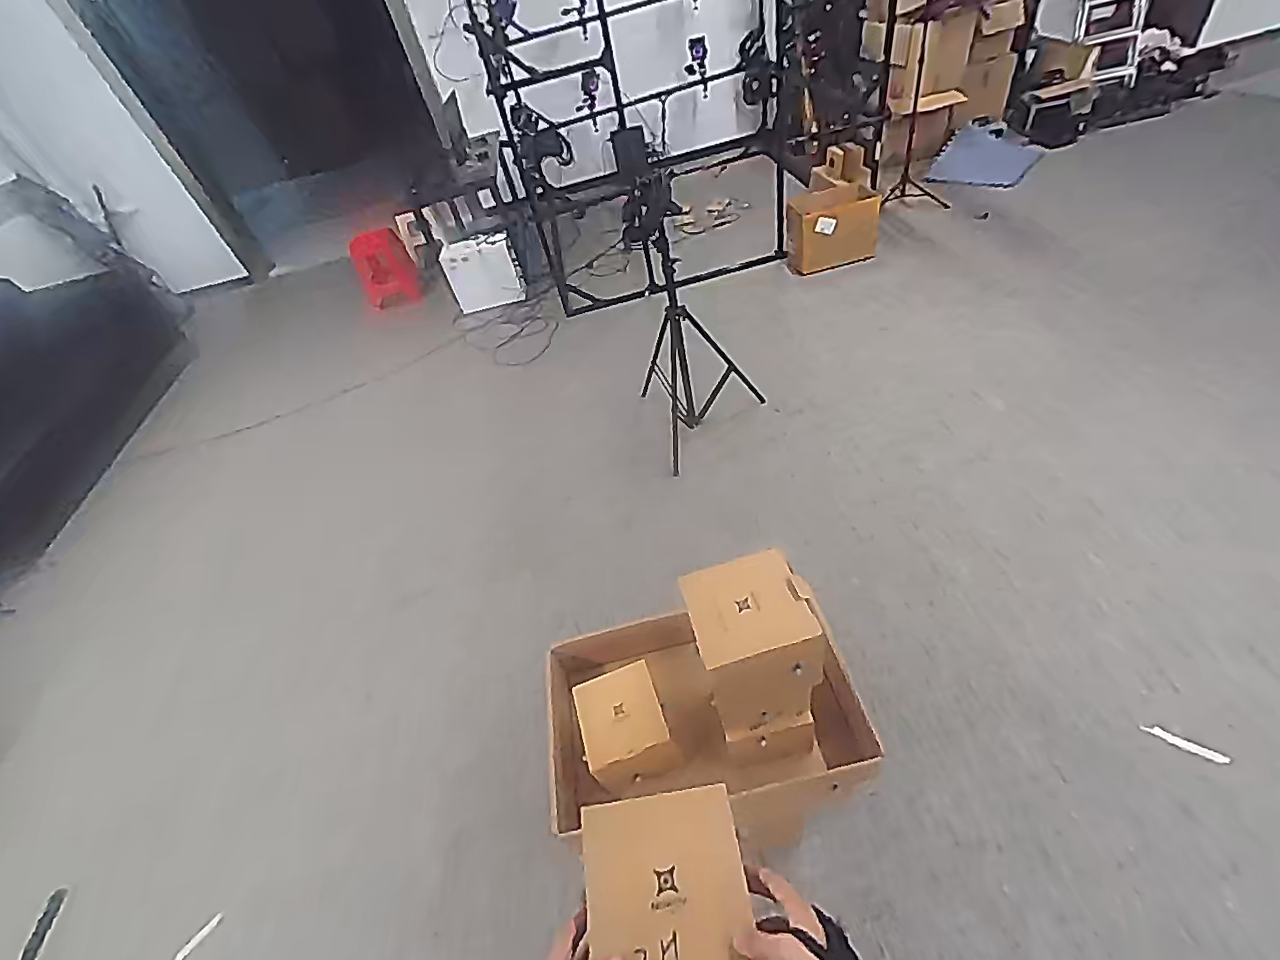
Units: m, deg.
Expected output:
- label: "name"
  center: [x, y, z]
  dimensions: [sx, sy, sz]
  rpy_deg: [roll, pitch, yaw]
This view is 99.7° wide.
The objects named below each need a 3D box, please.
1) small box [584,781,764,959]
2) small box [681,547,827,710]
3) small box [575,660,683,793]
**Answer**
- label: "small box"
  center: [0.032, 0.462, 0.605]
  dimensions: [0.168, 0.176, 0.179]
  rpy_deg: [-8, 50, -2]
- label: "small box"
  center: [0.178, 0.240, 0.866]
  dimensions: [0.179, 0.176, 0.168]
  rpy_deg: [-17, 44, 0]
- label: "small box"
  center: [-0.022, 0.514, 1.126]
  dimensions: [0.168, 0.176, 0.179]
  rpy_deg: [-21, 45, -4]
